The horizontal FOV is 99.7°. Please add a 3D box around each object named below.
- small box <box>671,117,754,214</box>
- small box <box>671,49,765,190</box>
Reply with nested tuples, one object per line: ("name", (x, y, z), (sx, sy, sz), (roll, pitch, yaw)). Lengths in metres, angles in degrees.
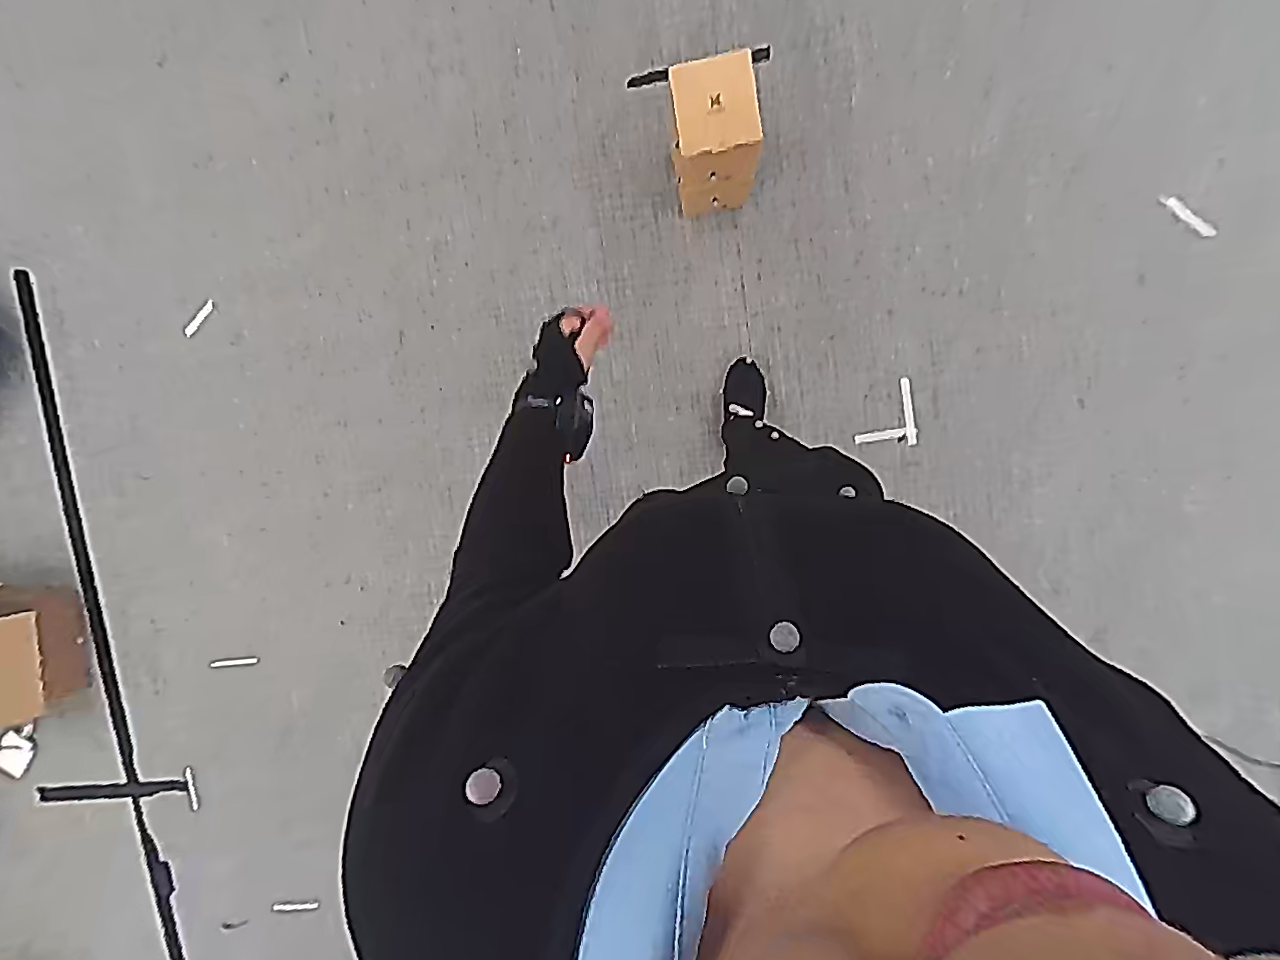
("small box", (0.172, -0.767, 1.307), (0.168, 0.176, 0.179), (-11, 94, 5))
("small box", (0.159, -0.751, 1.145), (0.168, 0.176, 0.179), (-9, 96, 6))
